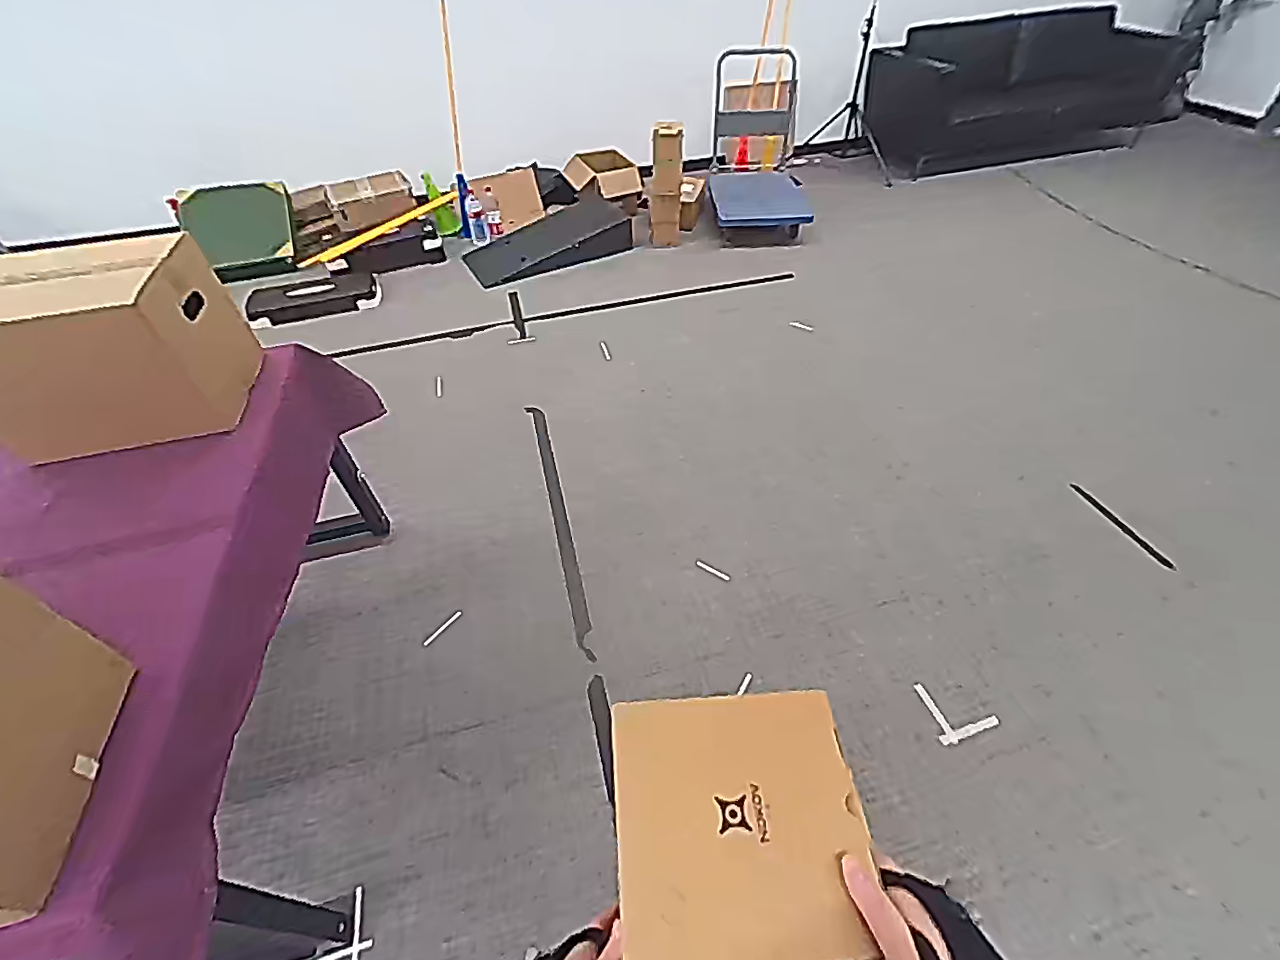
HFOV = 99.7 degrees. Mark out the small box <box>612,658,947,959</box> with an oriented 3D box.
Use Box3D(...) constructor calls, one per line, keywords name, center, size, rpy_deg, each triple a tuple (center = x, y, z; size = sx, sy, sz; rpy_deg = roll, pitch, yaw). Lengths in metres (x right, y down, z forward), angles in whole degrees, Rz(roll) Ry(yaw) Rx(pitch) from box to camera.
Box3D(name="small box", center=(0.090, 0.261, 0.407), size=(0.168, 0.176, 0.179), rpy_deg=(10, 27, -18))
